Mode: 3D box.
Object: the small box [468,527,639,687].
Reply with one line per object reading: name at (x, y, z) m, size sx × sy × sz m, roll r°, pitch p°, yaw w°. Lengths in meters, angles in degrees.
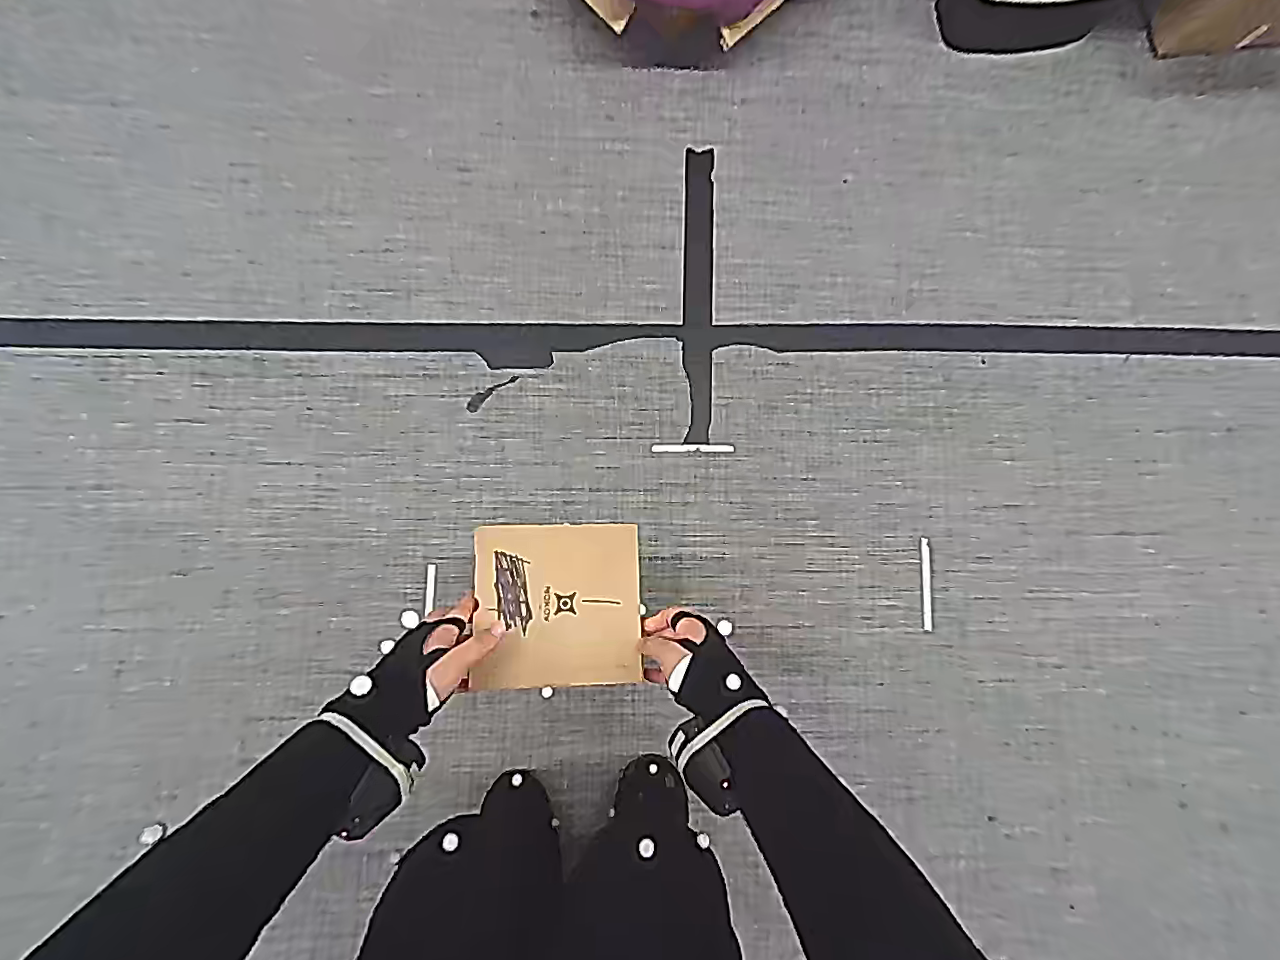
small box at (-0.096, 0.153, 0.646) m, size 0.179 × 0.176 × 0.168 m, roll 0°, pitch 75°, yaw -7°
